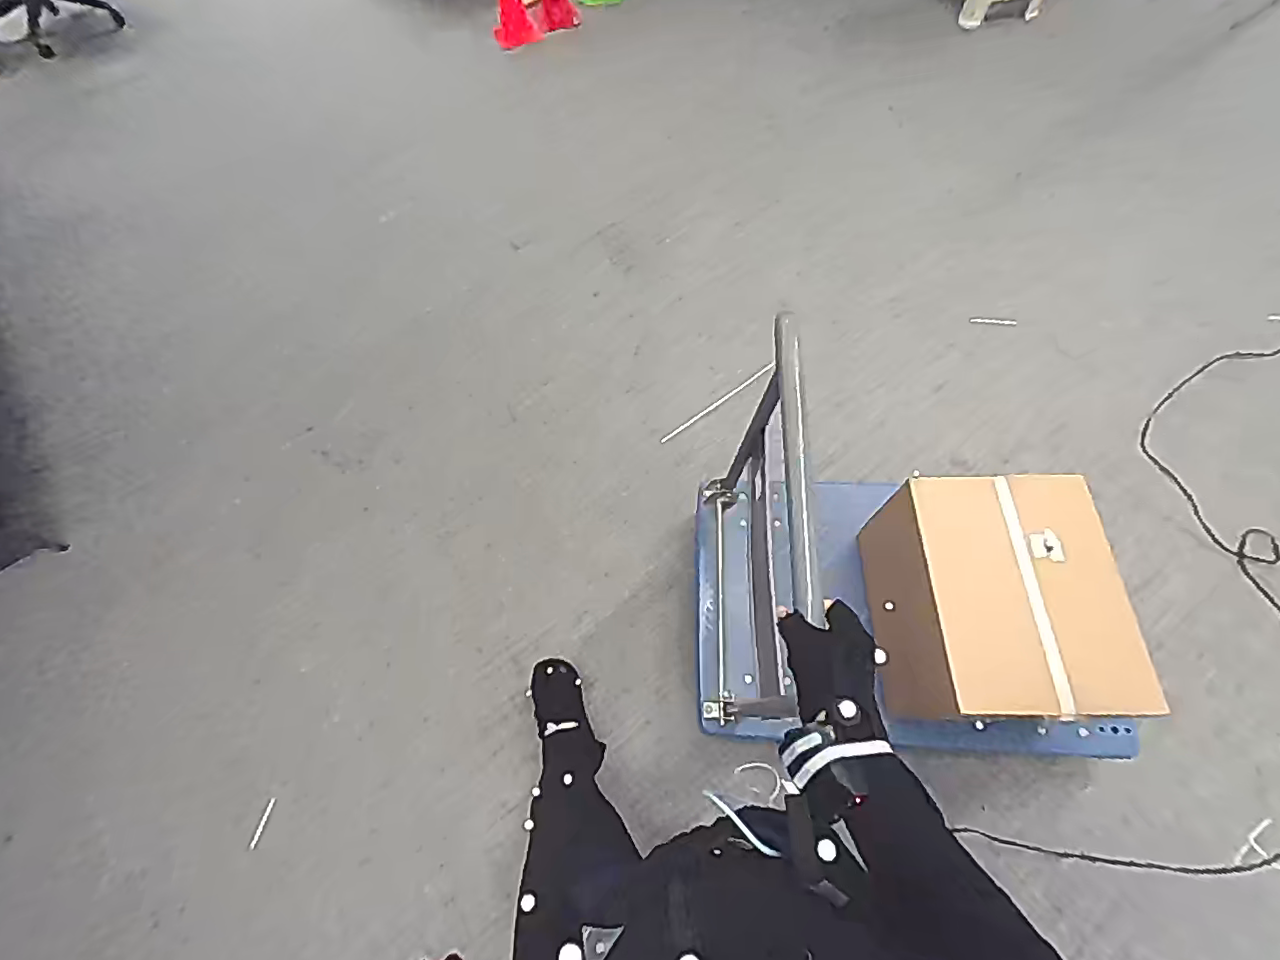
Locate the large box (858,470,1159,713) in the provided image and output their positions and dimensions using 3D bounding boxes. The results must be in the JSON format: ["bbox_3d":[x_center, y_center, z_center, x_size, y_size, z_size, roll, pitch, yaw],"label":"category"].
[{"bbox_3d":[0.654,0.228,1.053,0.320,0.320,0.408,0,64,2],"label":"large box"}]
